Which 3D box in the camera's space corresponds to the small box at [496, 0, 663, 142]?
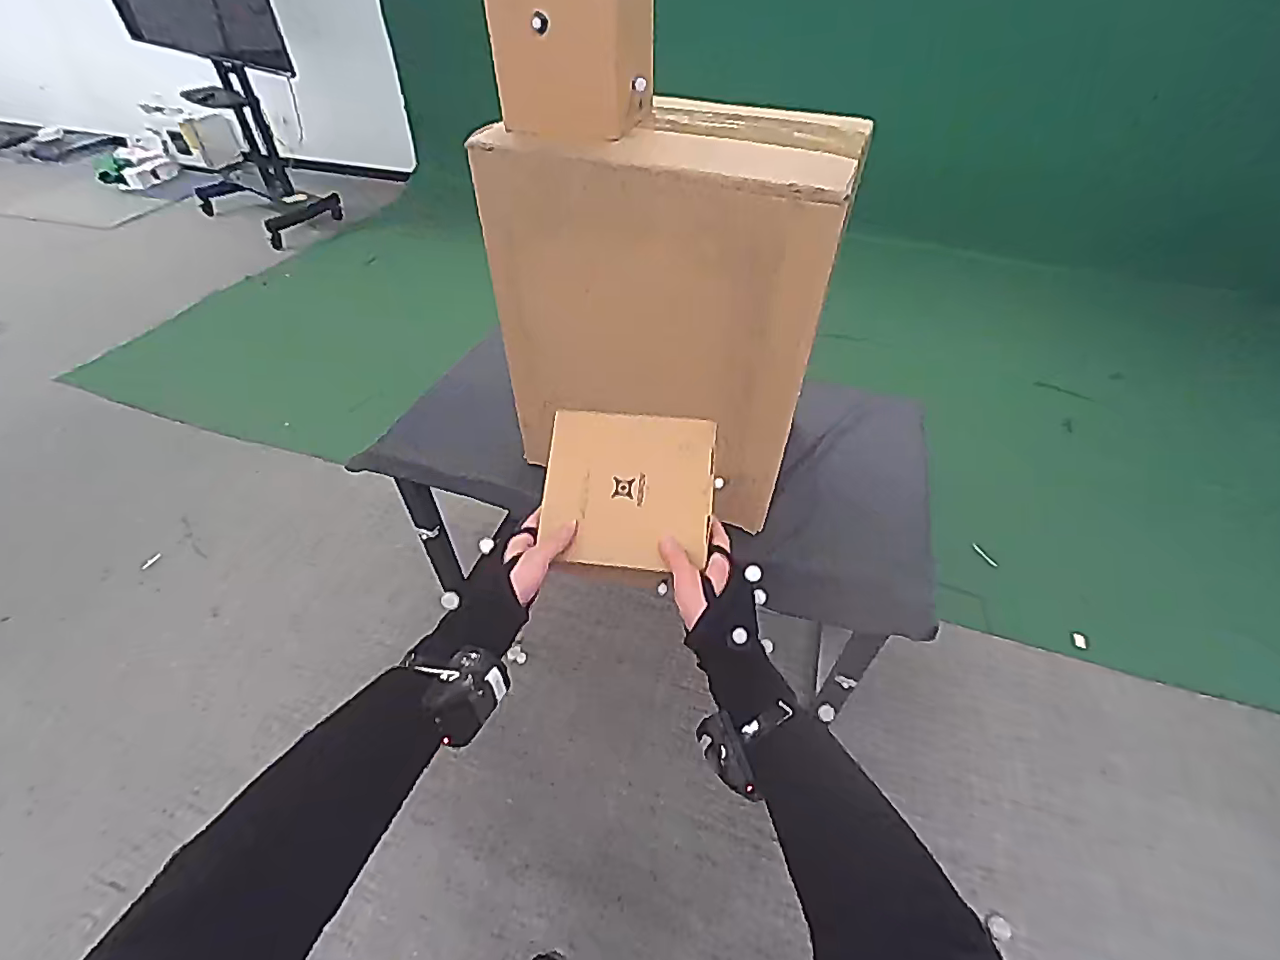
[{"bbox_3d":[-0.077,-0.599,0.764,0.179,0.176,0.168,16,52,16],"label":"small box"}]
